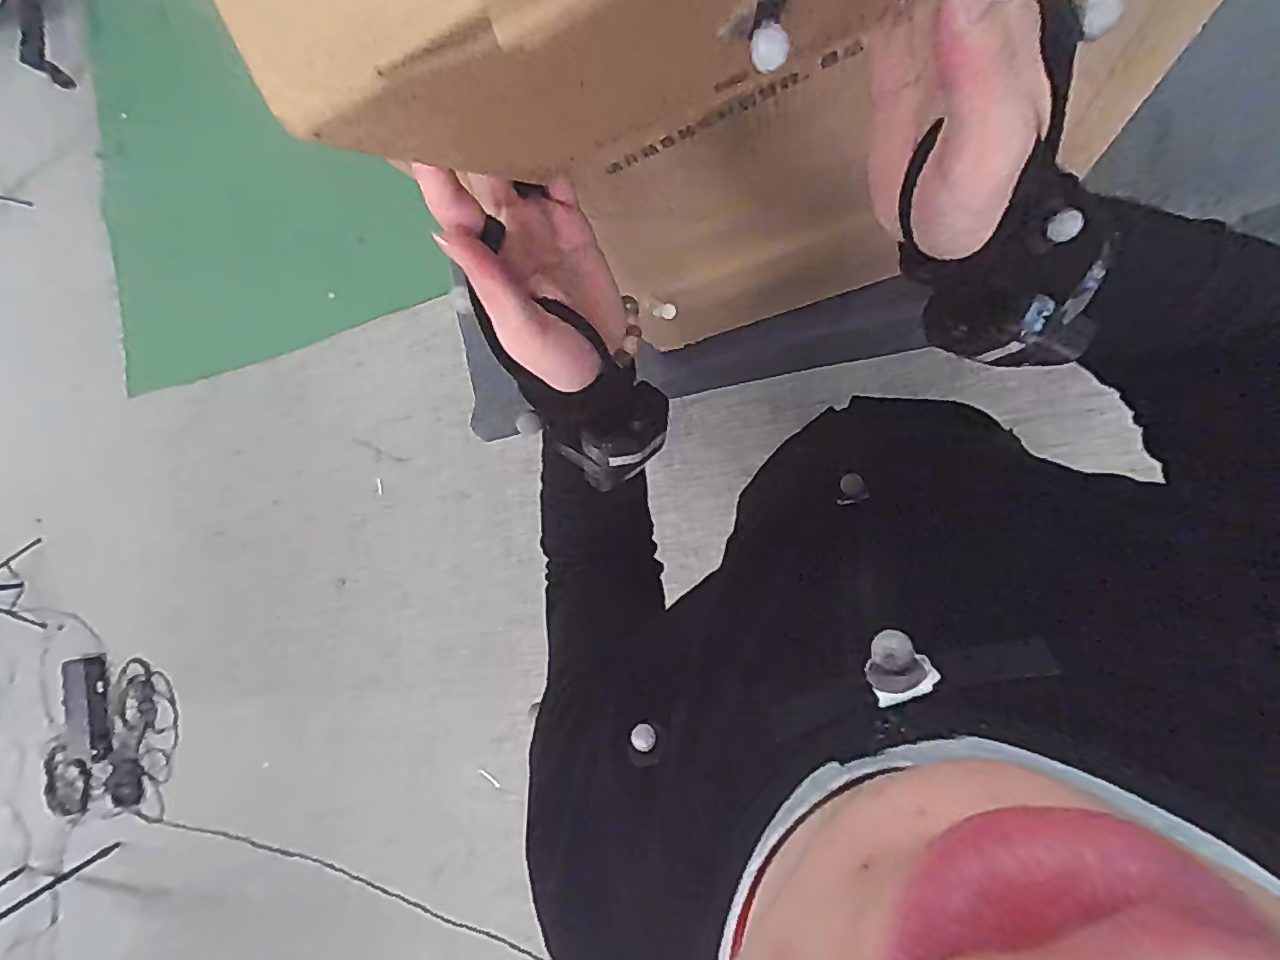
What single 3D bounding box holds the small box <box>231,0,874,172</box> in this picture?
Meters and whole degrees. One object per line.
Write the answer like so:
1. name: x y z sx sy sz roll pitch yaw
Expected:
1. small box: -0.021 -0.210 0.156 0.168 0.176 0.179 -14 111 18
